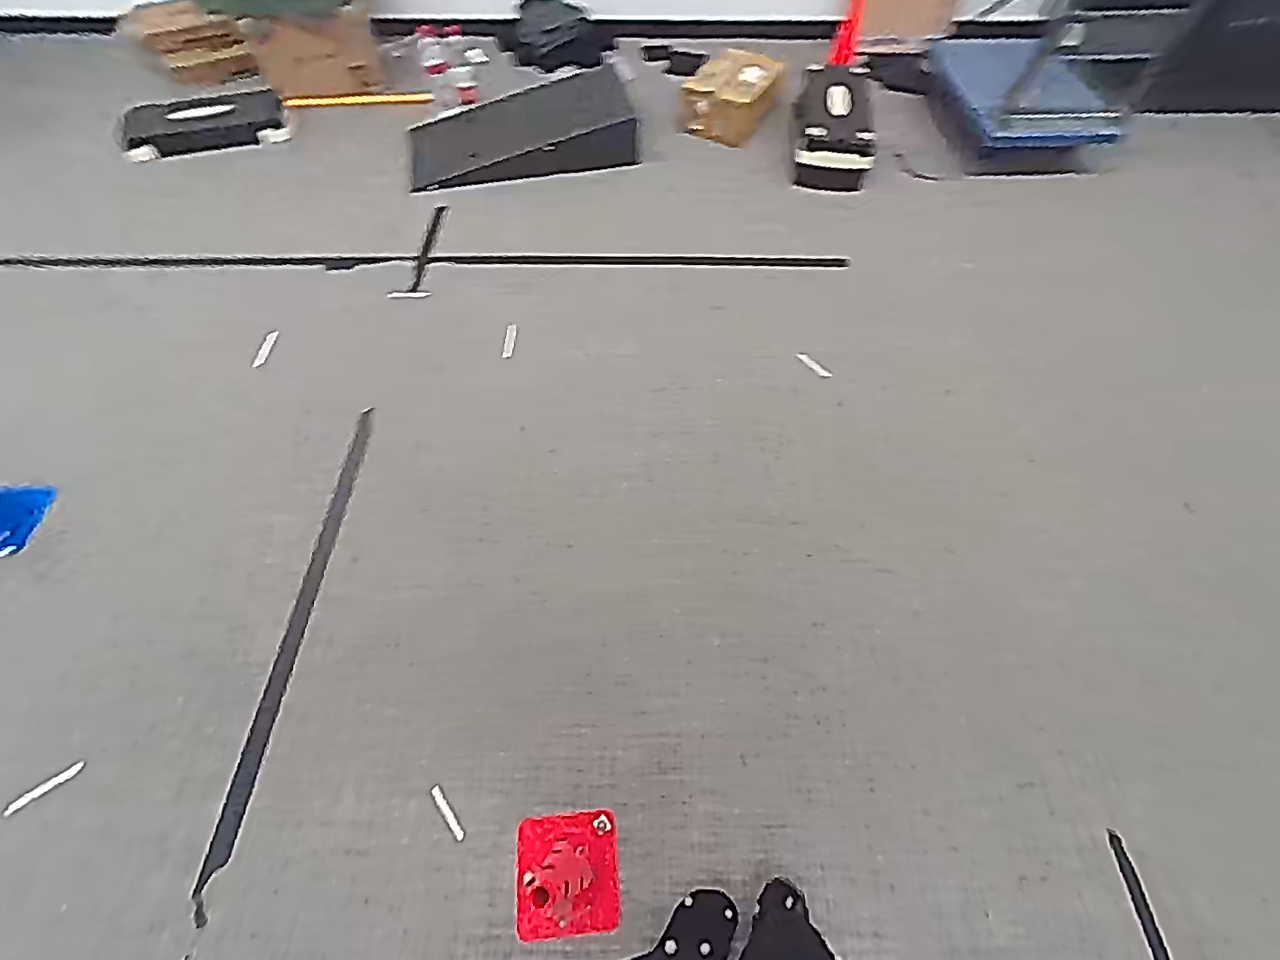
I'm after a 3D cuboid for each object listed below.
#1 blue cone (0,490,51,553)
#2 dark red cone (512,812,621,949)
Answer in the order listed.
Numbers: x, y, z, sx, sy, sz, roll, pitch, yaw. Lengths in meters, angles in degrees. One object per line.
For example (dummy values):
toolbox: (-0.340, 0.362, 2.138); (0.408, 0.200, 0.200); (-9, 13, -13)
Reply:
blue cone: (-1.726, 0.028, 1.323); (0.192, 0.380, 0.193); (1, 59, 2)
dark red cone: (-0.146, 0.675, 0.895); (0.201, 0.394, 0.202); (-7, 59, -3)
